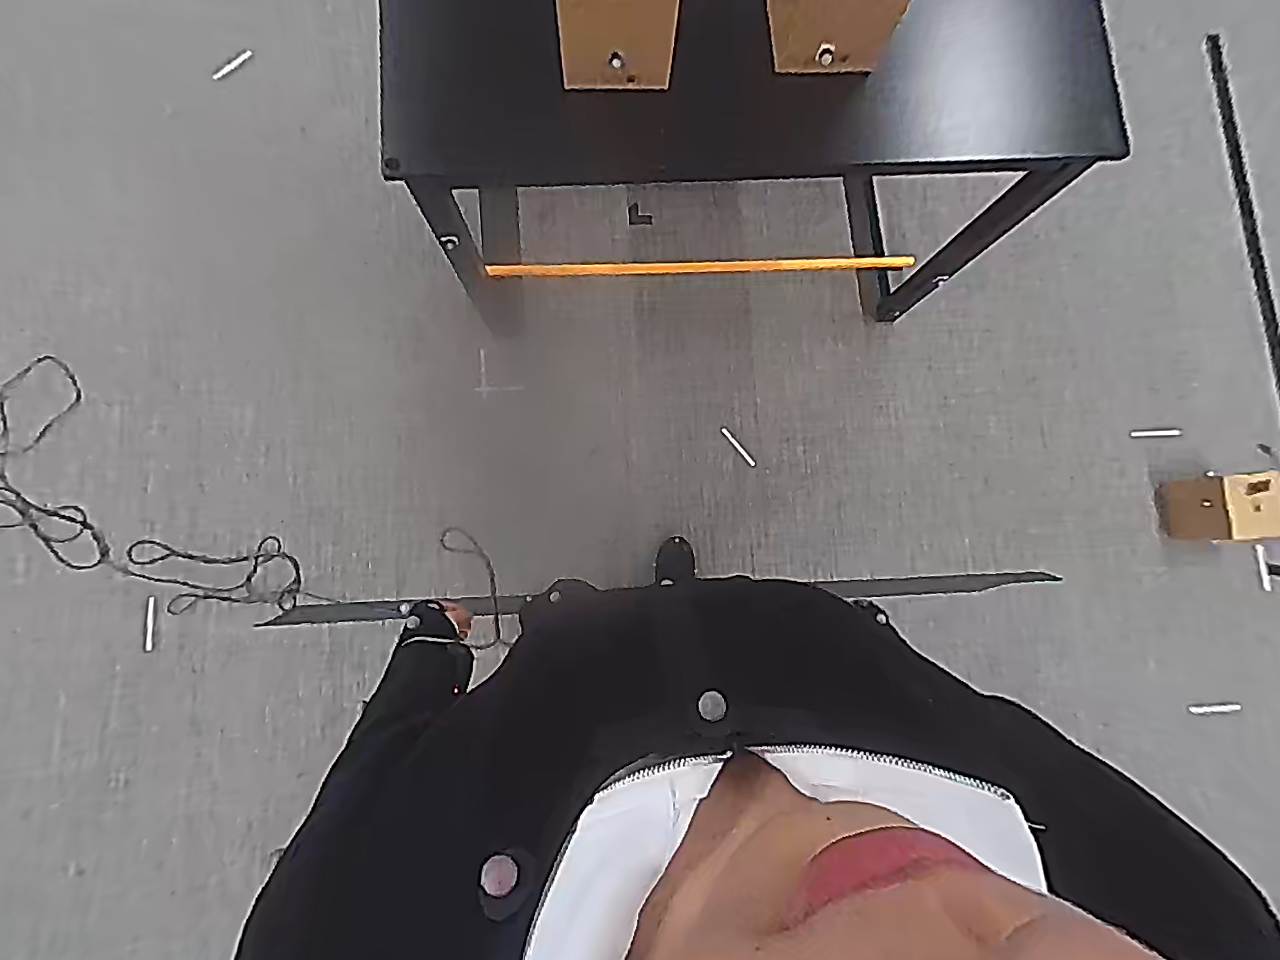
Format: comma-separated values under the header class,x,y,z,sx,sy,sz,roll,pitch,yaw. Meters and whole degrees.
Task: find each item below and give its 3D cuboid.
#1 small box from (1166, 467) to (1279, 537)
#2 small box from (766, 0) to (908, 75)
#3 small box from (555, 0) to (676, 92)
class,x,y,z,sx,sy,sz,roll,pitch,yaw
small box,1.636,0.067,1.512,0.168,0.176,0.179,-5,84,-3
small box,0.295,-0.760,0.815,0.168,0.176,0.179,-5,84,-2
small box,-0.040,-0.716,0.790,0.168,0.176,0.179,-2,83,-3
